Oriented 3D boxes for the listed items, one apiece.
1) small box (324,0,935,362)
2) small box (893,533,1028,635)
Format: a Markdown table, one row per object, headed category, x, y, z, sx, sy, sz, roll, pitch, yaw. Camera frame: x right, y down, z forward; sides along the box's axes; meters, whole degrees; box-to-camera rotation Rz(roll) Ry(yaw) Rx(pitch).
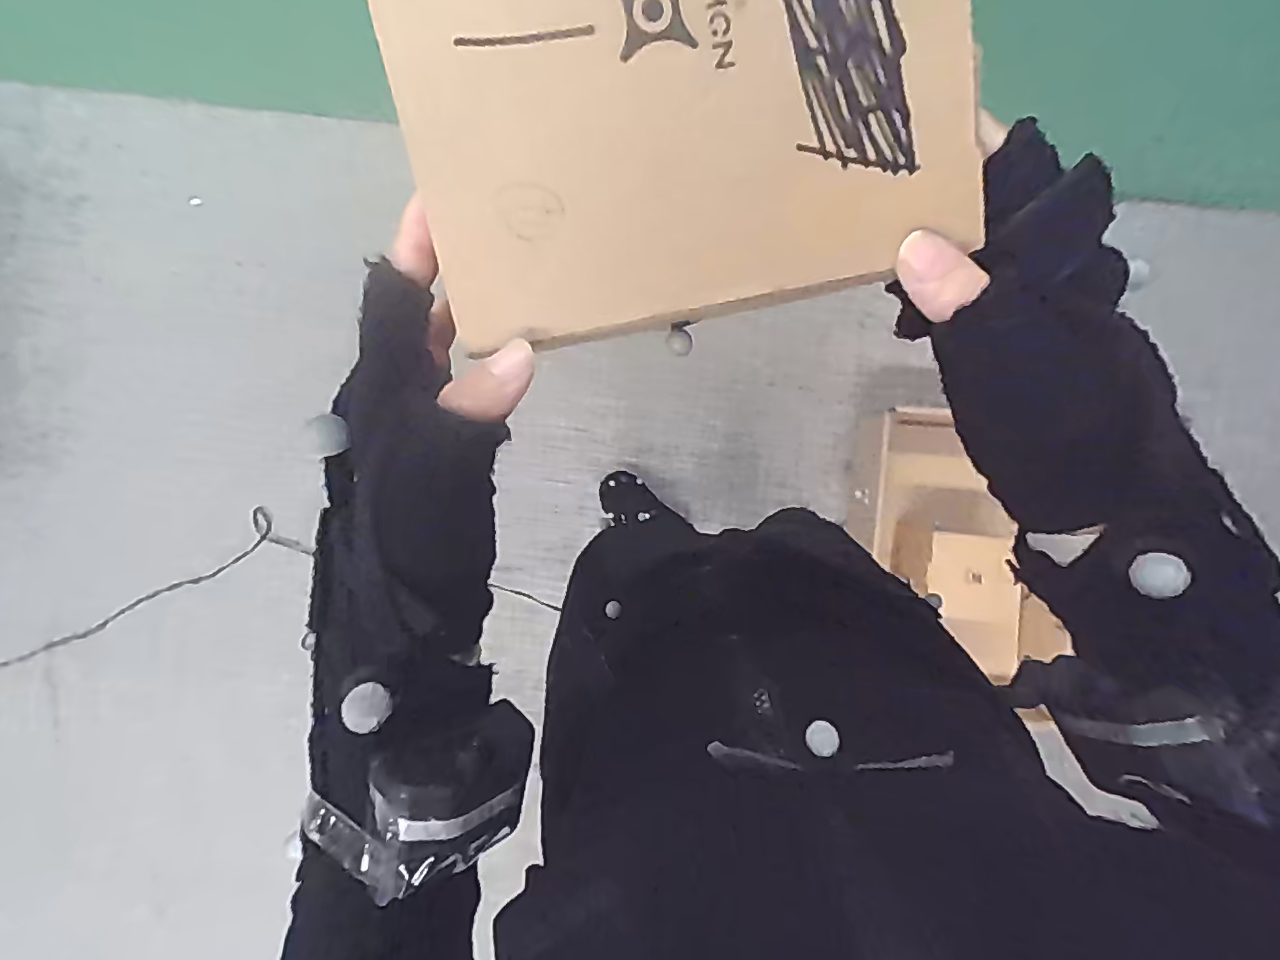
| category | x | y | z | sx | sy | sz | roll | pitch | yaw |
| --- | --- | --- | --- | --- | --- | --- | --- | --- | --- |
| small box | -0.005 | -0.151 | 0.237 | 0.179 | 0.176 | 0.168 | -11 | 103 | 1 |
| small box | 0.647 | 0.205 | 1.113 | 0.179 | 0.176 | 0.168 | 6 | 92 | 1 |
